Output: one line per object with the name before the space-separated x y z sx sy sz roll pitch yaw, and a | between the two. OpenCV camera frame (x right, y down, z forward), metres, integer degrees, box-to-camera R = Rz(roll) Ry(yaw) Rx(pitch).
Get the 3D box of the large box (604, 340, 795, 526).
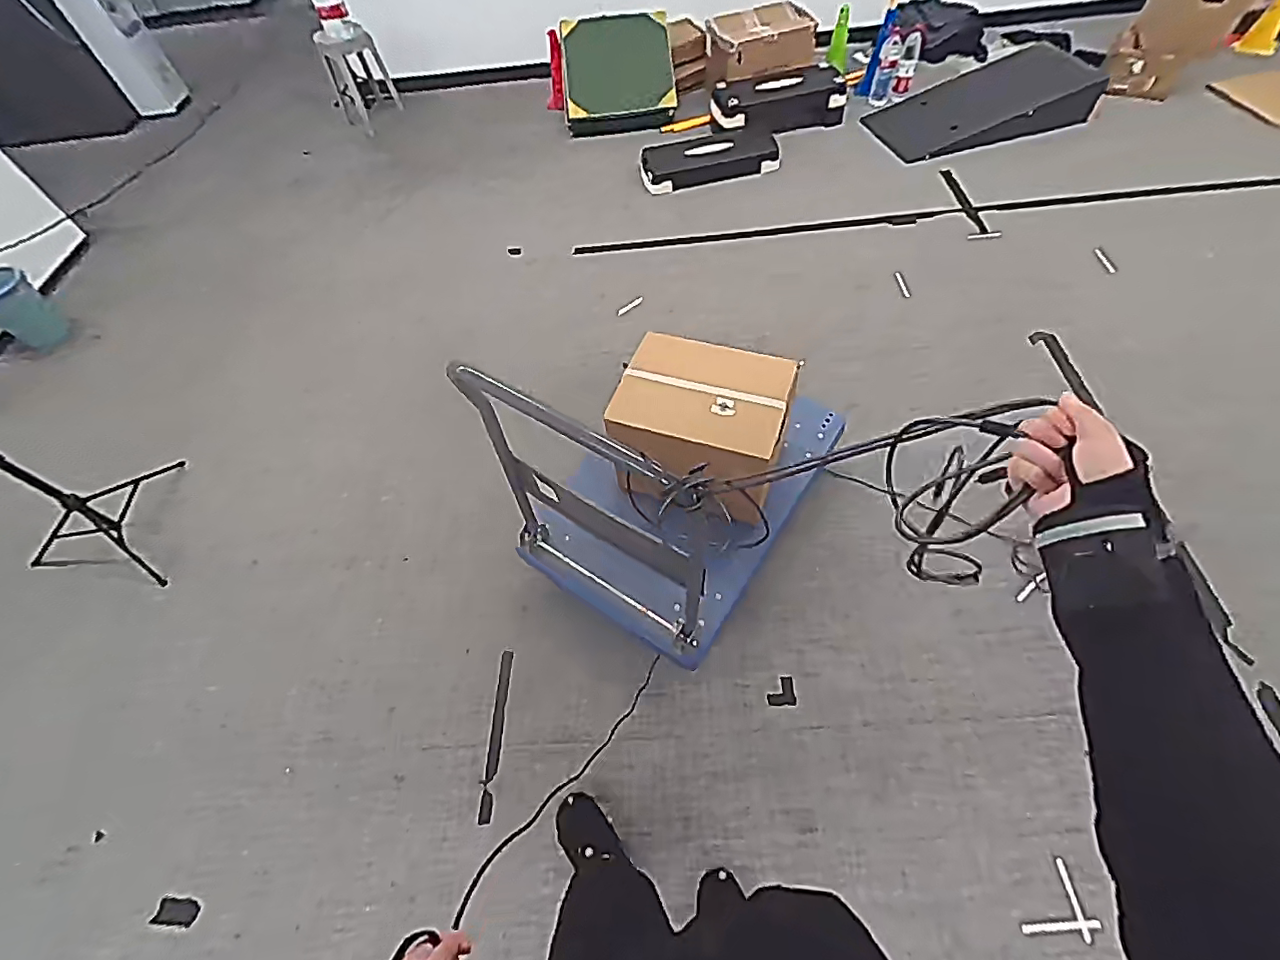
large box | 0.156 -0.121 1.425 0.408 0.320 0.320 15 60 14
